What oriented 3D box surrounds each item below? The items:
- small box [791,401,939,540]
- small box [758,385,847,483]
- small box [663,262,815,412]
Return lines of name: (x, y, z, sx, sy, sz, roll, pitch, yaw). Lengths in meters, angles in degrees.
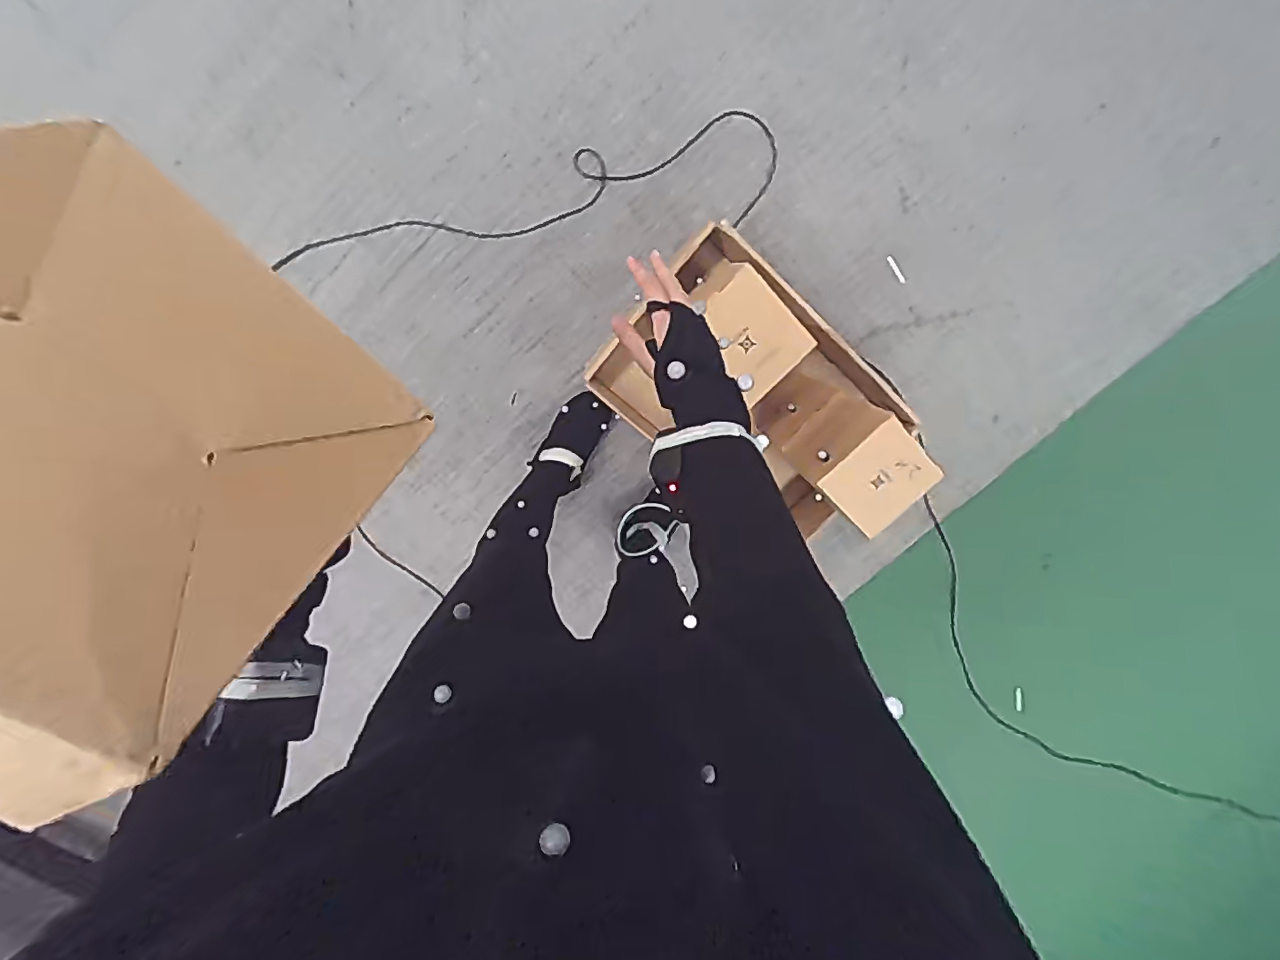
small box: (0.411, -0.025, 1.030, 0.179, 0.176, 0.168, -44, 108, 9)
small box: (0.387, -0.090, 1.180, 0.168, 0.176, 0.179, -44, 107, 10)
small box: (0.158, -0.246, 0.931, 0.168, 0.176, 0.179, -43, 108, 11)
